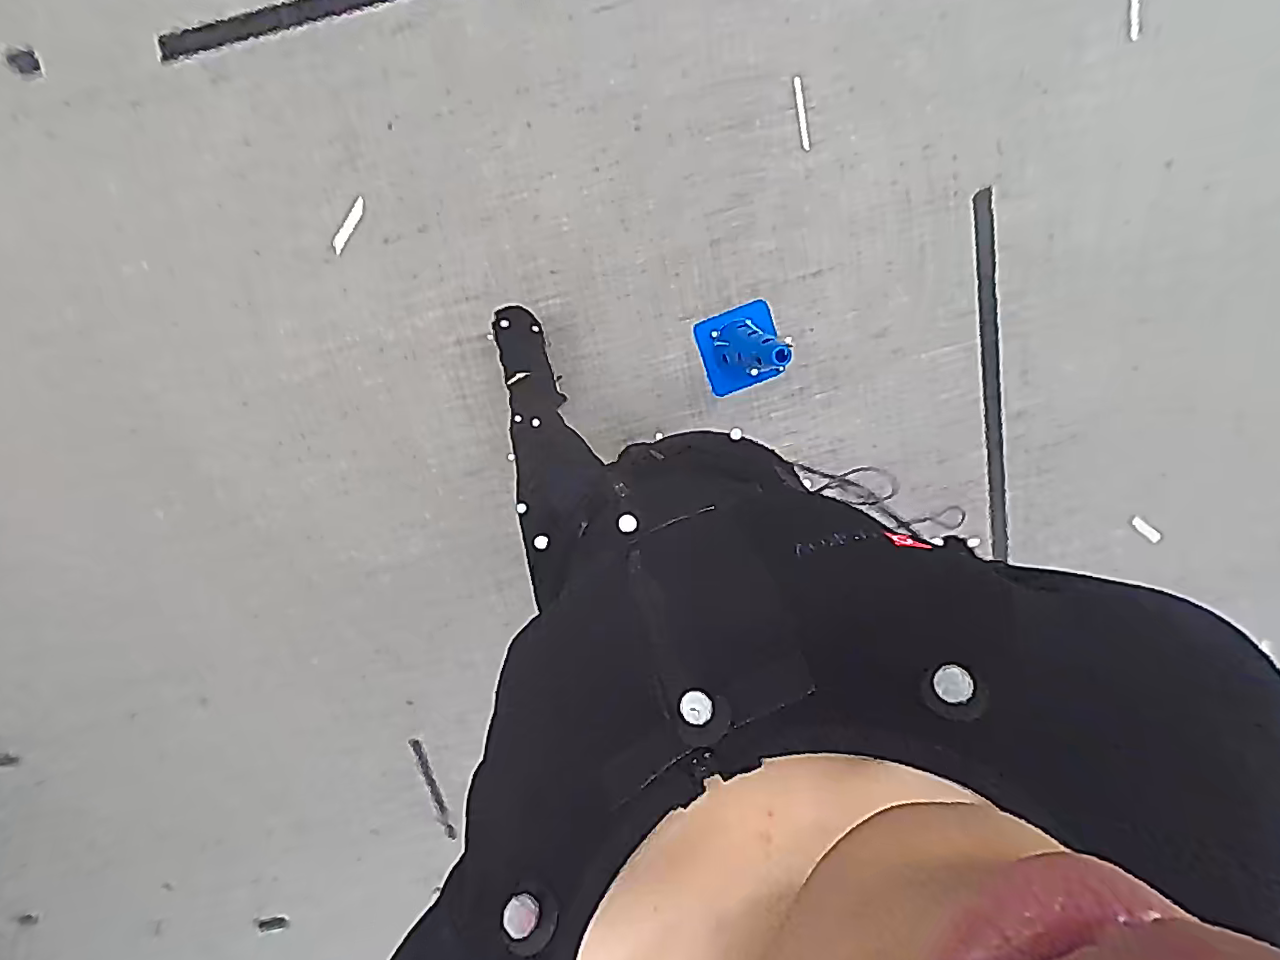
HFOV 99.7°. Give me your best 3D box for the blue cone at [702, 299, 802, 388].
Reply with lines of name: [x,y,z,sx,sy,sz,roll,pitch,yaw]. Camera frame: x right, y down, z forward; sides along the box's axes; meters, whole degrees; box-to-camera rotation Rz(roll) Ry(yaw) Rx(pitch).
blue cone: [0.274,-0.301,1.219,0.192,0.380,0.193,-20,105,2]
